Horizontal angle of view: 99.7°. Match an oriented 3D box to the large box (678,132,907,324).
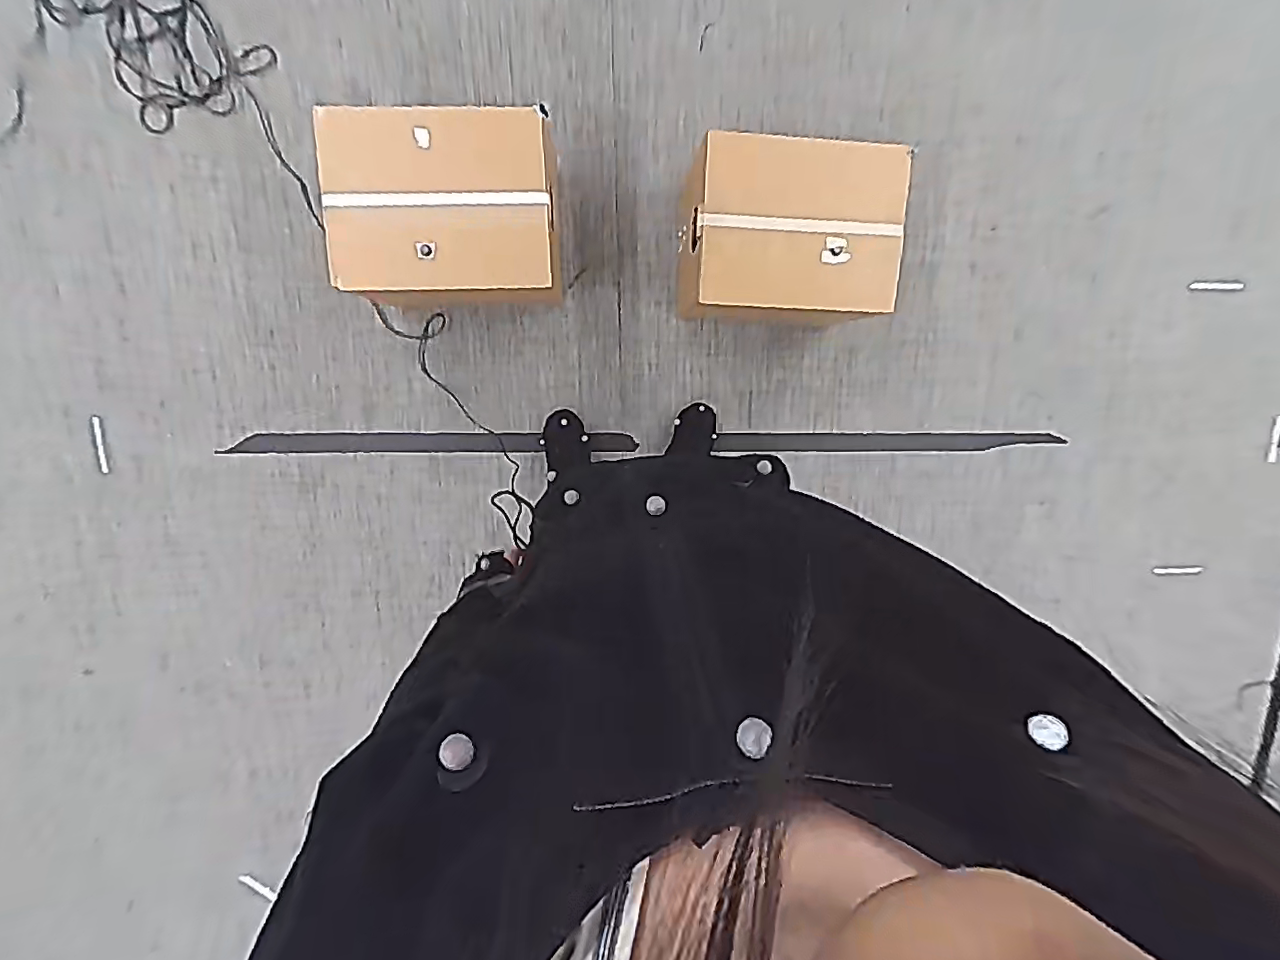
[{"bbox_3d":[0.307,-0.529,1.208,0.408,0.320,0.320,1,101,-6],"label":"large box"}]
